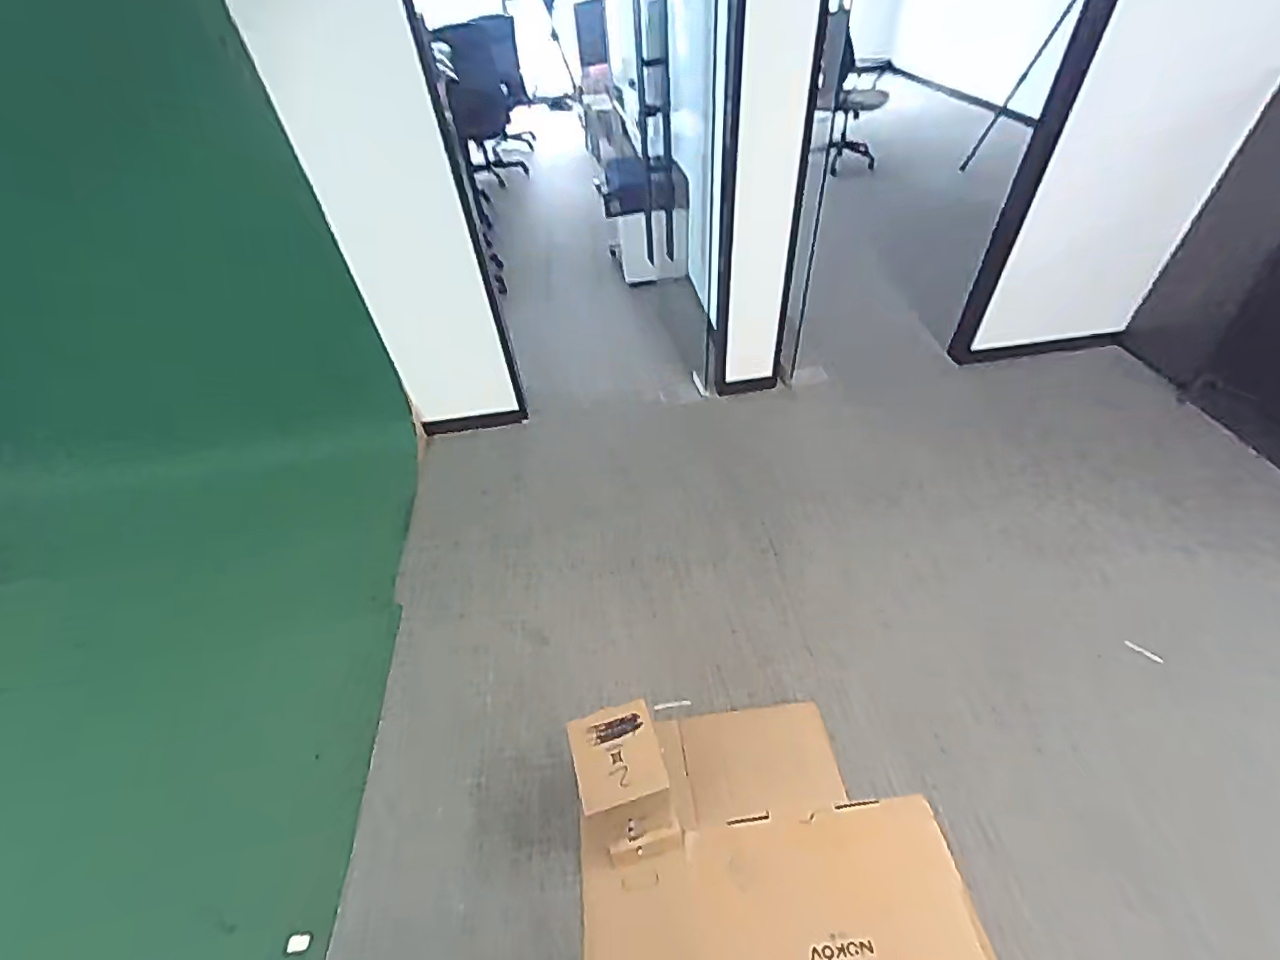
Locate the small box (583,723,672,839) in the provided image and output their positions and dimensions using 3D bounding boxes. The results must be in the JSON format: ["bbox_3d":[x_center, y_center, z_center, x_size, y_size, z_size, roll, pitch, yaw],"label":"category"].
[{"bbox_3d":[-0.026,0.683,1.217,0.168,0.176,0.179,-11,45,-7],"label":"small box"}]

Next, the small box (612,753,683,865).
[{"bbox_3d":[0.007,0.806,1.324,0.168,0.176,0.179,-12,45,-7],"label":"small box"}]
